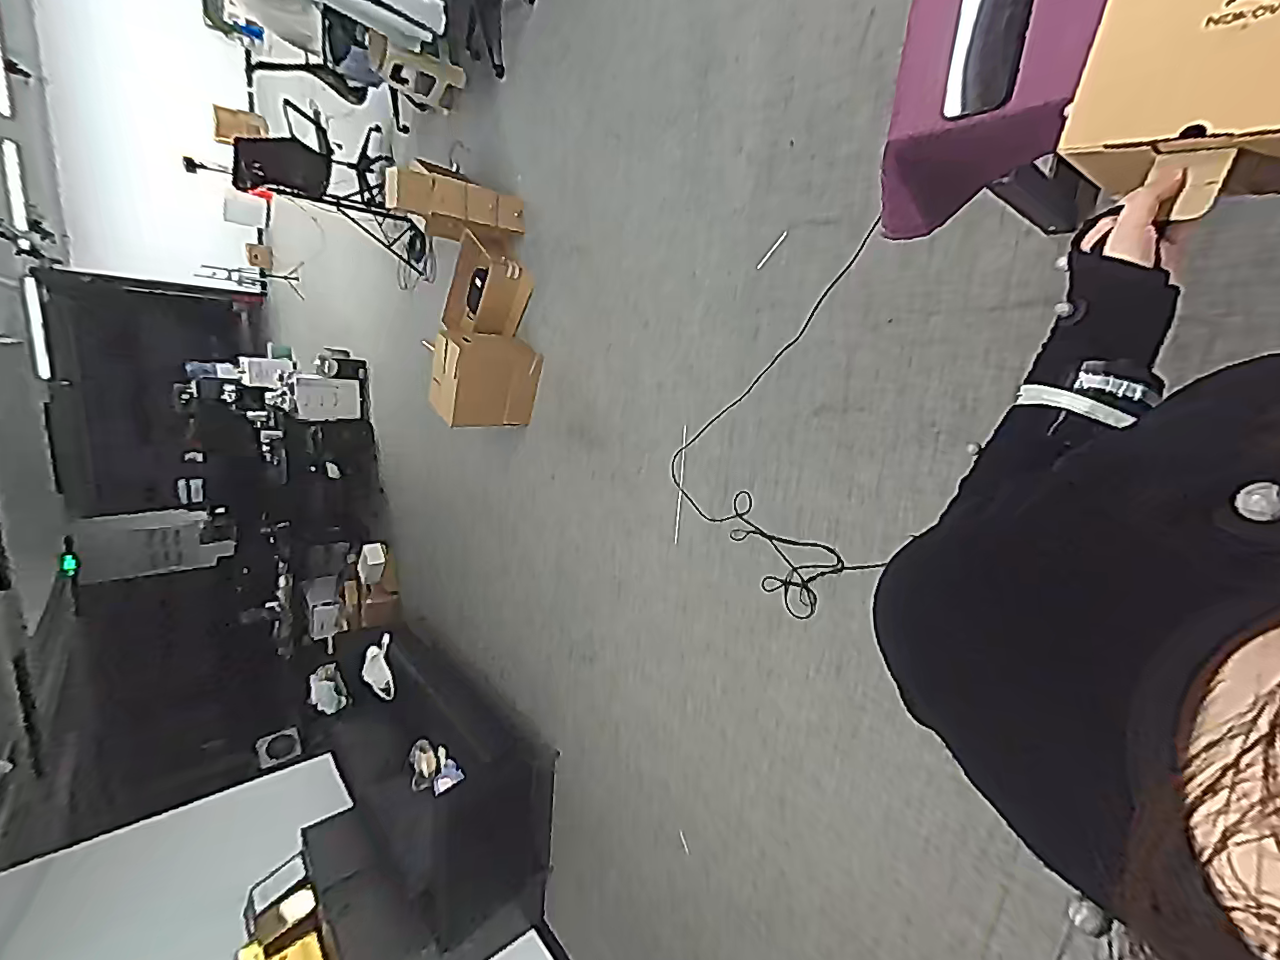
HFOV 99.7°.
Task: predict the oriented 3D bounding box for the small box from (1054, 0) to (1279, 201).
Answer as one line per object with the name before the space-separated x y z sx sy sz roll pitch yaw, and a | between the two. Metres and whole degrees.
small box | 0.467 -0.329 0.414 0.168 0.176 0.179 30 119 47
